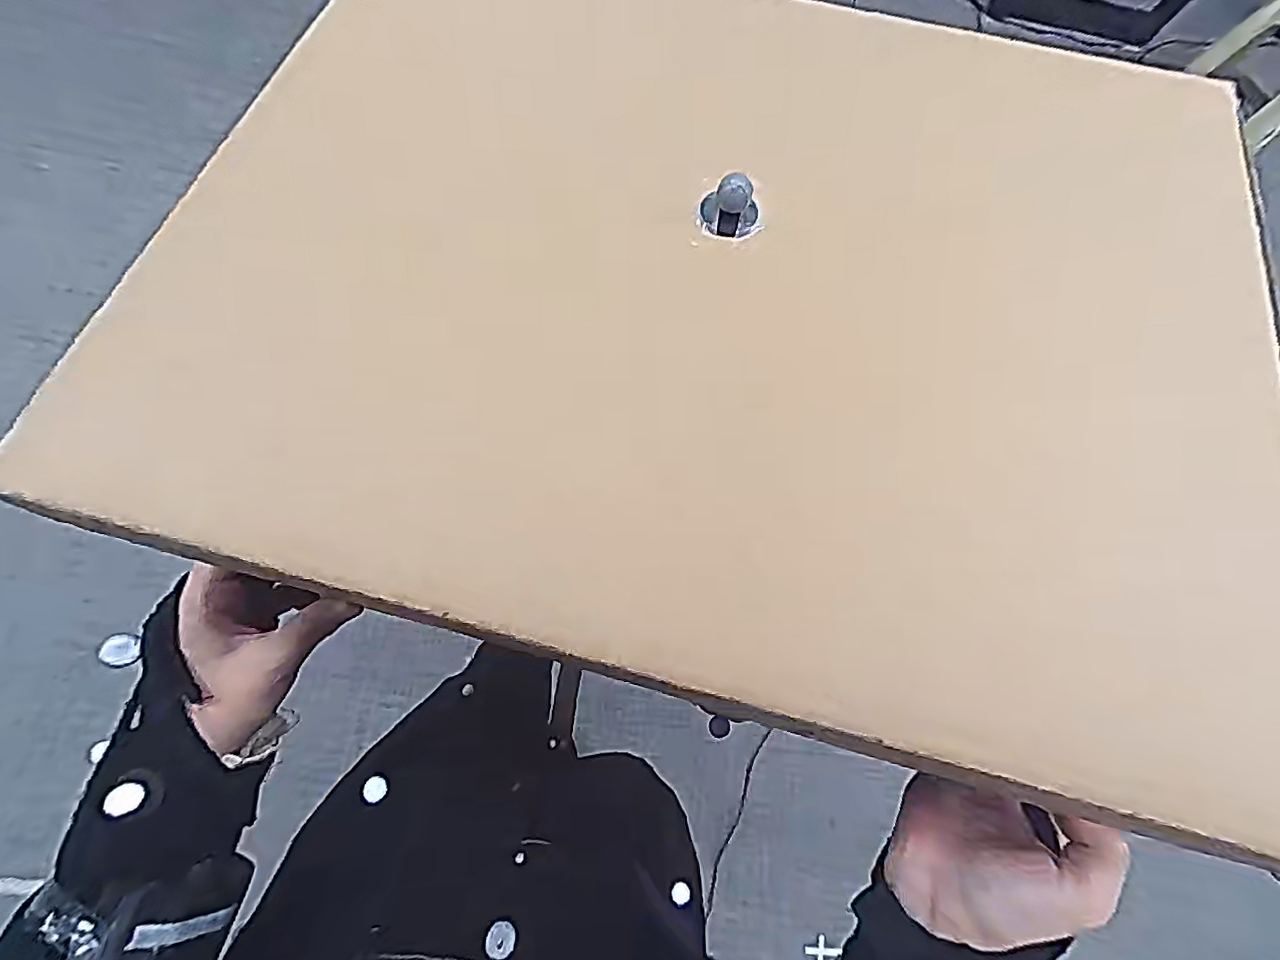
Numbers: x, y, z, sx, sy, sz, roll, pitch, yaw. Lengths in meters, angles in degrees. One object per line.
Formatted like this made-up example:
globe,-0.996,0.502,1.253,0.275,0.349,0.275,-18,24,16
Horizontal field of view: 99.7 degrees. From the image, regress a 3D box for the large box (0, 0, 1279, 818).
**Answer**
large box,0.015,-0.046,0.341,0.408,0.320,0.320,14,71,5
